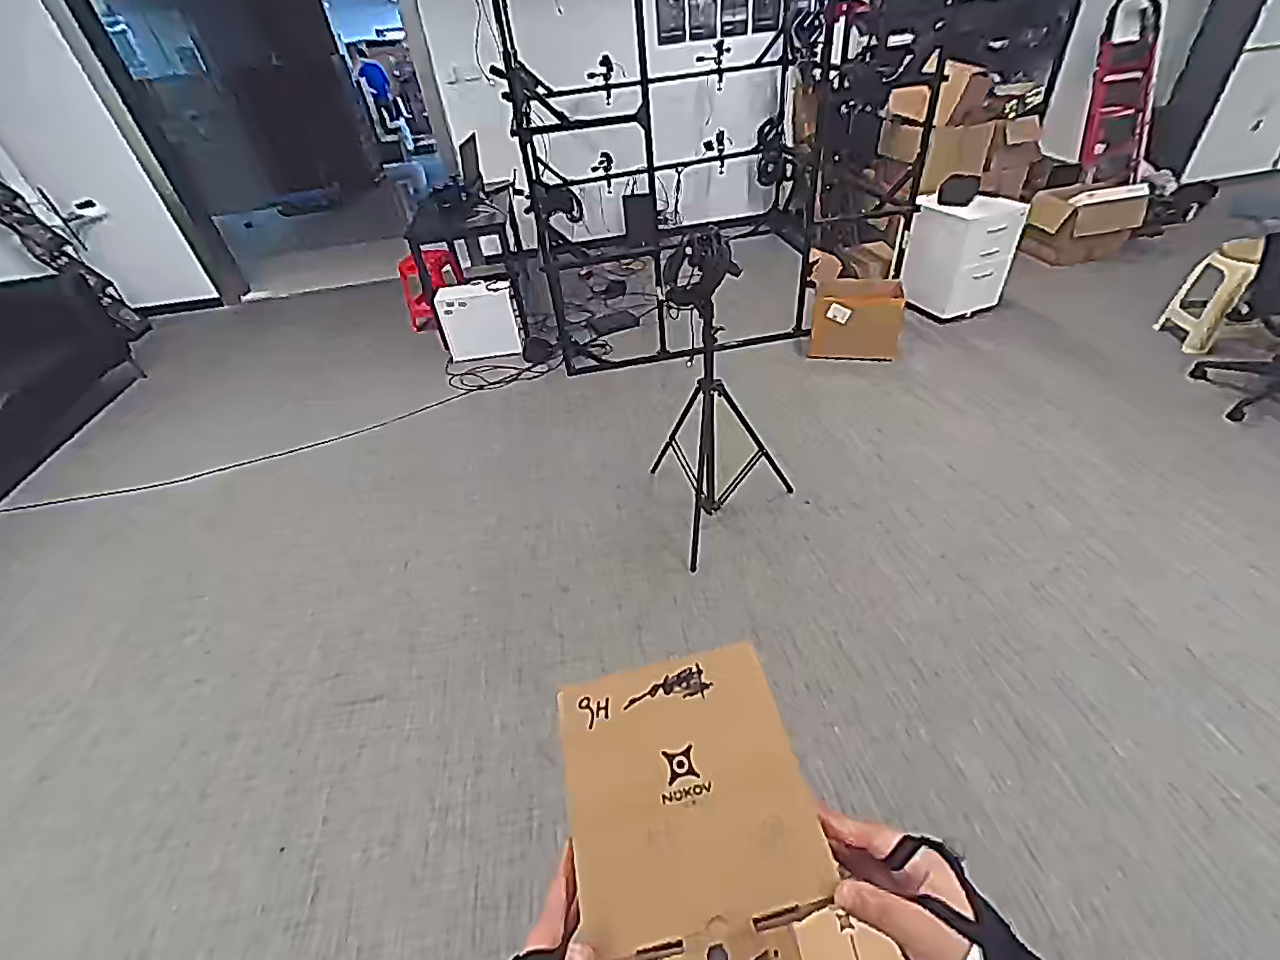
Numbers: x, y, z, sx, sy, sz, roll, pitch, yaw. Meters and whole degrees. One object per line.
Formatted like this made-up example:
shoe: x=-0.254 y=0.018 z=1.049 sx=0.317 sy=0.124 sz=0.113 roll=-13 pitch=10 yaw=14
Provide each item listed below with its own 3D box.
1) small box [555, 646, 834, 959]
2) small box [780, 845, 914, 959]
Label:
small box: x=0.034 y=0.267 z=0.444 sx=0.168 sy=0.176 sz=0.179 roll=-12 pitch=49 yaw=-5
small box: x=0.327 y=0.746 z=0.899 sx=0.168 sy=0.176 sz=0.179 roll=-9 pitch=39 yaw=-2
